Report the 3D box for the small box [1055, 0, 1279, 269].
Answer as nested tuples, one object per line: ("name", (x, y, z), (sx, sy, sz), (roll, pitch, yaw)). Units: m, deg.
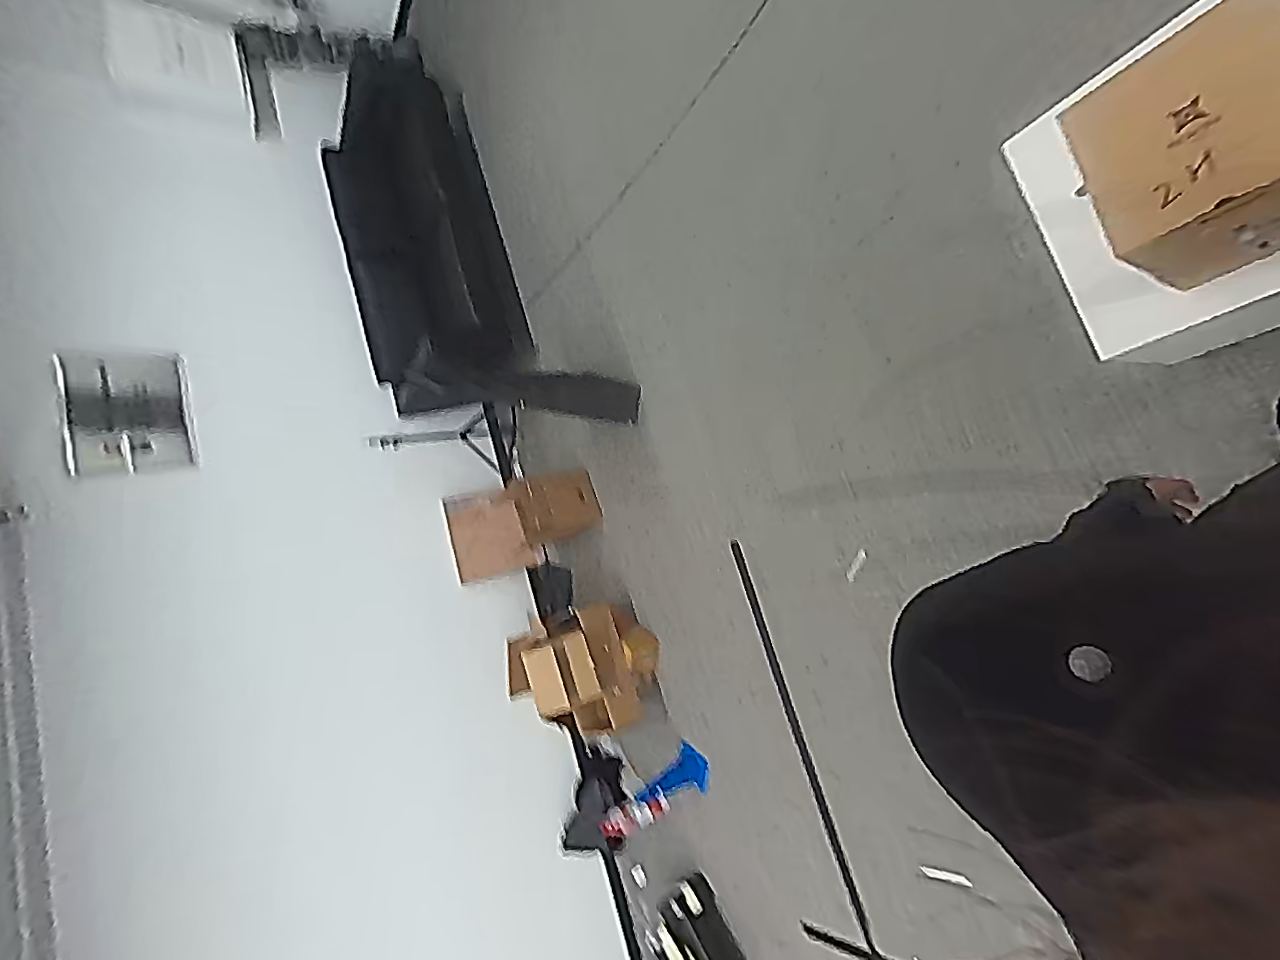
("small box", (0.572, -0.341, 0.551), (0.168, 0.176, 0.179), (-26, 76, 53))
